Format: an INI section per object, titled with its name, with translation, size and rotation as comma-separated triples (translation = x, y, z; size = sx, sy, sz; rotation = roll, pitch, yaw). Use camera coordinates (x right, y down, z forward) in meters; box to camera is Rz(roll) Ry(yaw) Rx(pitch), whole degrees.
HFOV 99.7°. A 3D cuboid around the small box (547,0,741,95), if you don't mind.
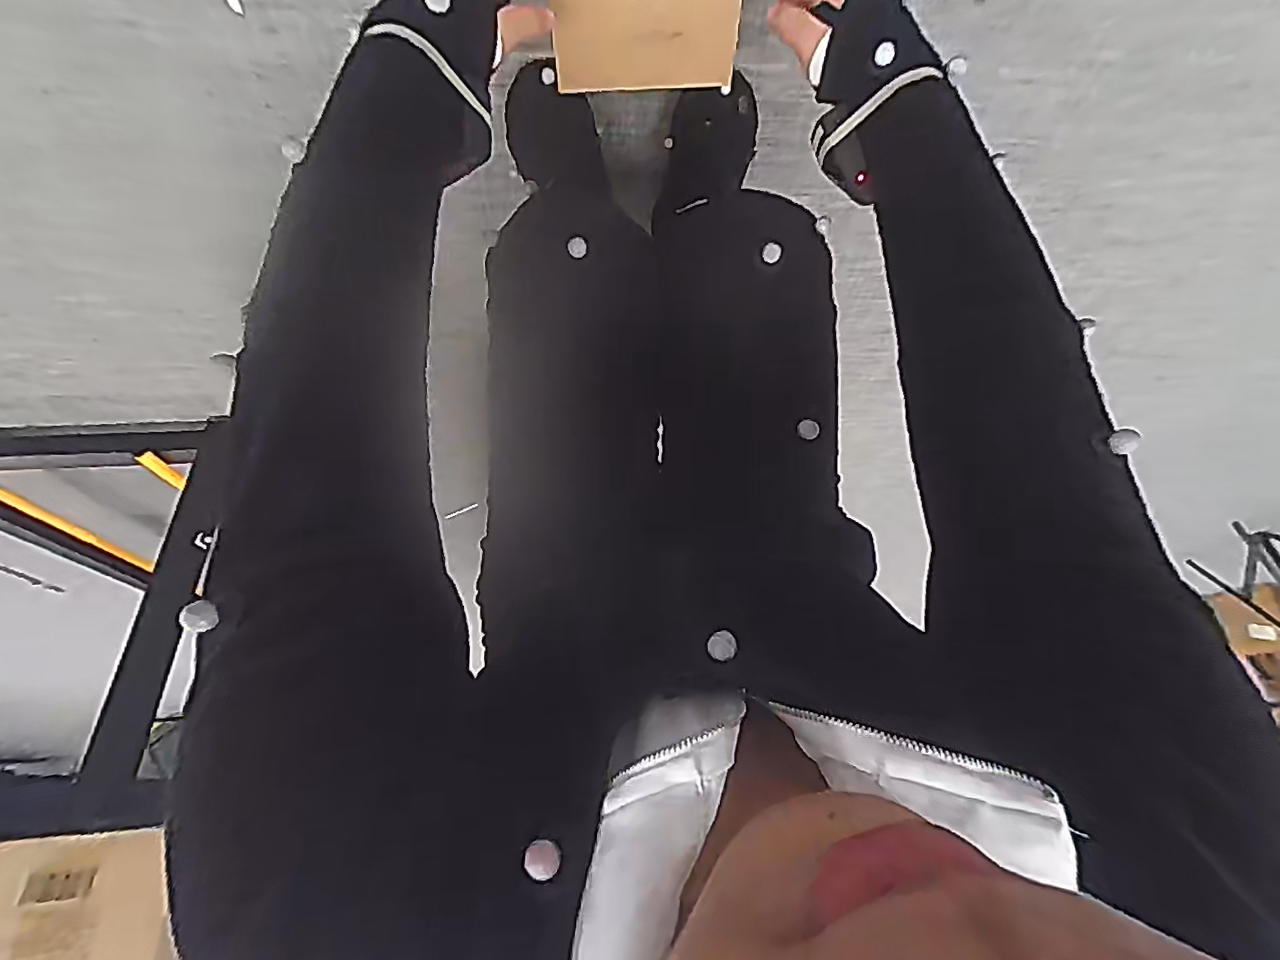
[small box]
translation = -0.003, -0.477, 0.471
size = 0.168, 0.176, 0.179
rotation = -4, 153, -2
